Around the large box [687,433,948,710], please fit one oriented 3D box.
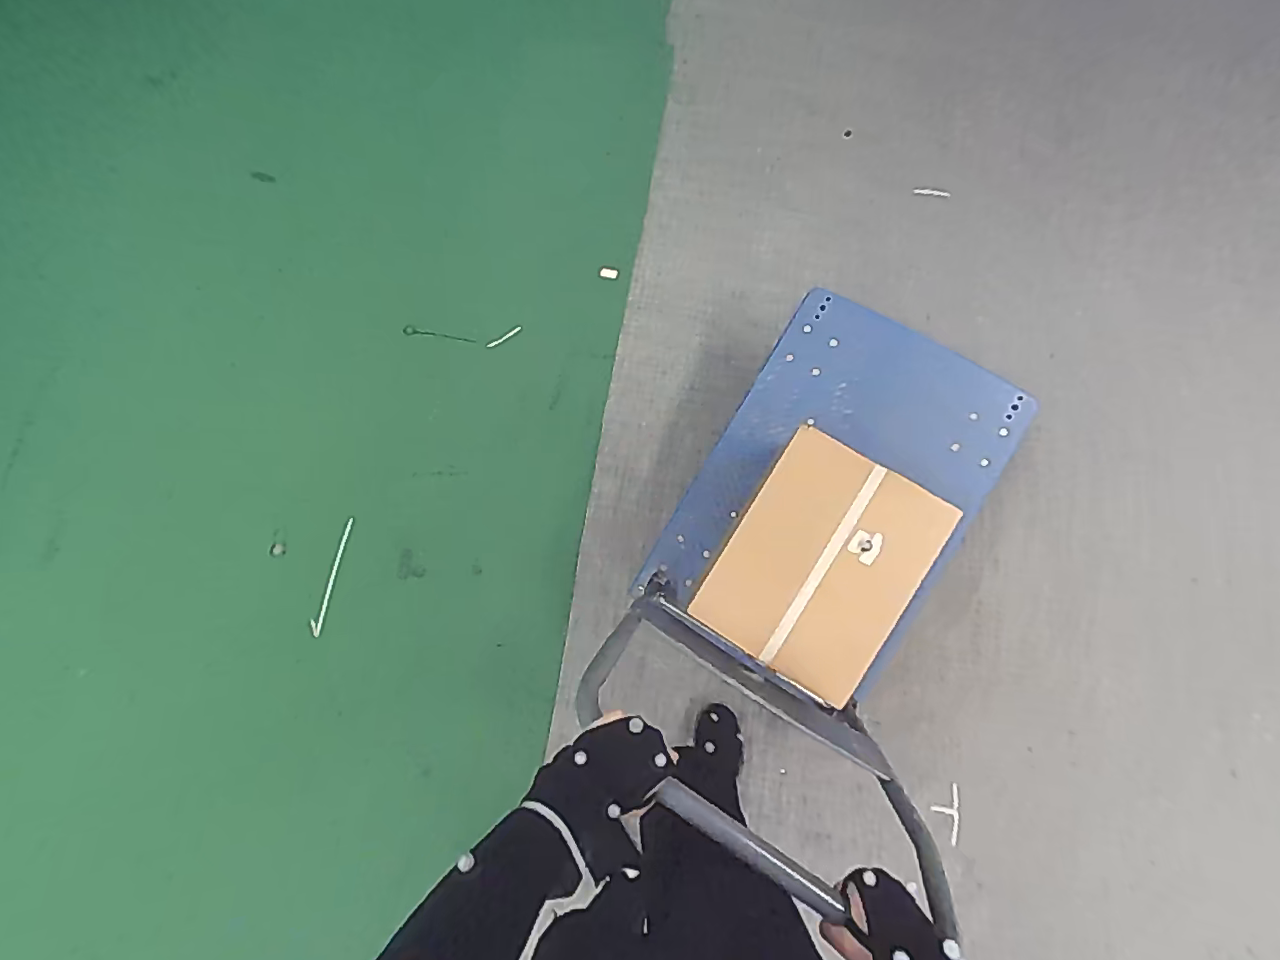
[{"bbox_3d":[0.332,0.174,1.113,0.320,0.320,0.408,32,89,8],"label":"large box"}]
